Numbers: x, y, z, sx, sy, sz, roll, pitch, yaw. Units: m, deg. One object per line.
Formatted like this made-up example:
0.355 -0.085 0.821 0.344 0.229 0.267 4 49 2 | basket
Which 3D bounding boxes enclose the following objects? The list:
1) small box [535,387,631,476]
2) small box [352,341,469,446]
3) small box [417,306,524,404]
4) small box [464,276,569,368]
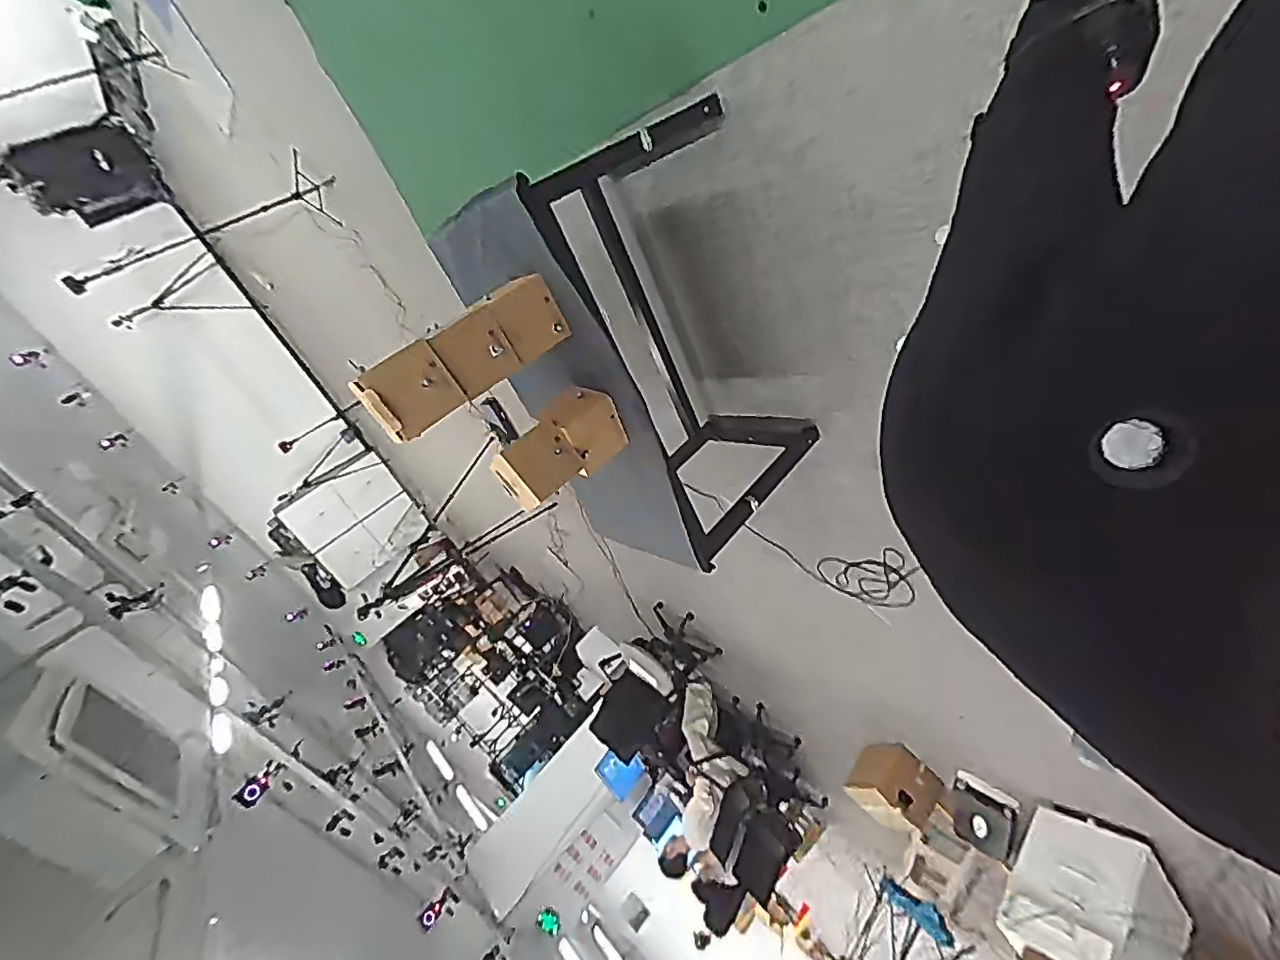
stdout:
-0.155 -0.142 1.512 0.179 0.176 0.168 22 145 44 | small box
-0.517 -0.194 1.226 0.179 0.176 0.168 7 136 56 | small box
-0.410 -0.297 1.300 0.179 0.176 0.168 9 137 53 | small box
-0.304 -0.398 1.369 0.179 0.176 0.168 15 141 51 | small box
